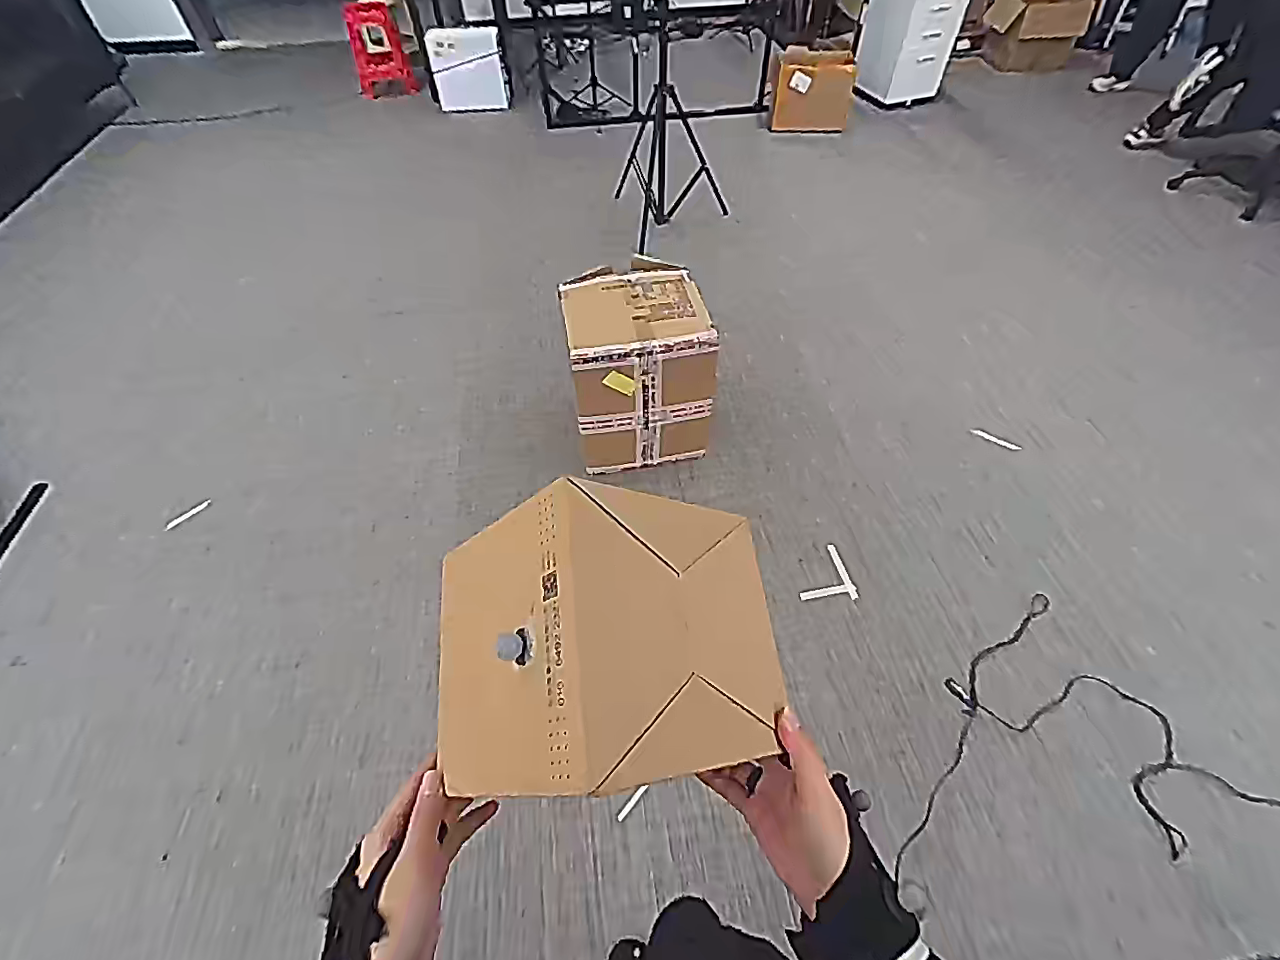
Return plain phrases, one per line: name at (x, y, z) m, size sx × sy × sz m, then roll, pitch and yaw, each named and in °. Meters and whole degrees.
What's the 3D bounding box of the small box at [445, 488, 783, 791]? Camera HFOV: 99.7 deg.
small box at (-0.022, 0.121, 0.394) m, size 0.179 × 0.176 × 0.168 m, roll 15°, pitch 57°, yaw -40°
